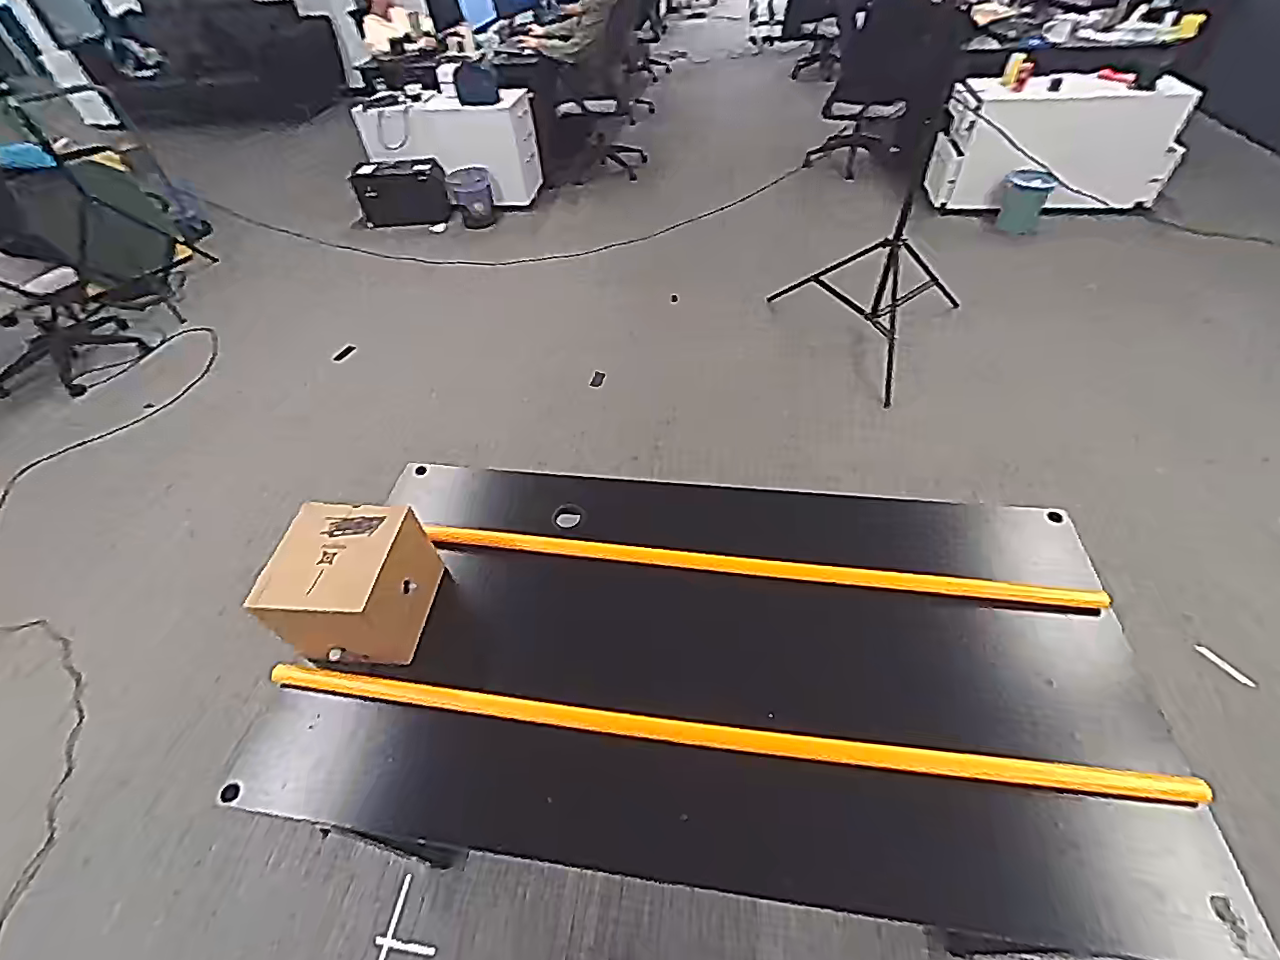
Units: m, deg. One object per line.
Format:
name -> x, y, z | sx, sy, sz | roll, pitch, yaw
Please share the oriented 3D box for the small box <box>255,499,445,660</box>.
small box -> -0.414, 0.149, 0.812 | 0.168, 0.176, 0.179 | 2, 50, 5
